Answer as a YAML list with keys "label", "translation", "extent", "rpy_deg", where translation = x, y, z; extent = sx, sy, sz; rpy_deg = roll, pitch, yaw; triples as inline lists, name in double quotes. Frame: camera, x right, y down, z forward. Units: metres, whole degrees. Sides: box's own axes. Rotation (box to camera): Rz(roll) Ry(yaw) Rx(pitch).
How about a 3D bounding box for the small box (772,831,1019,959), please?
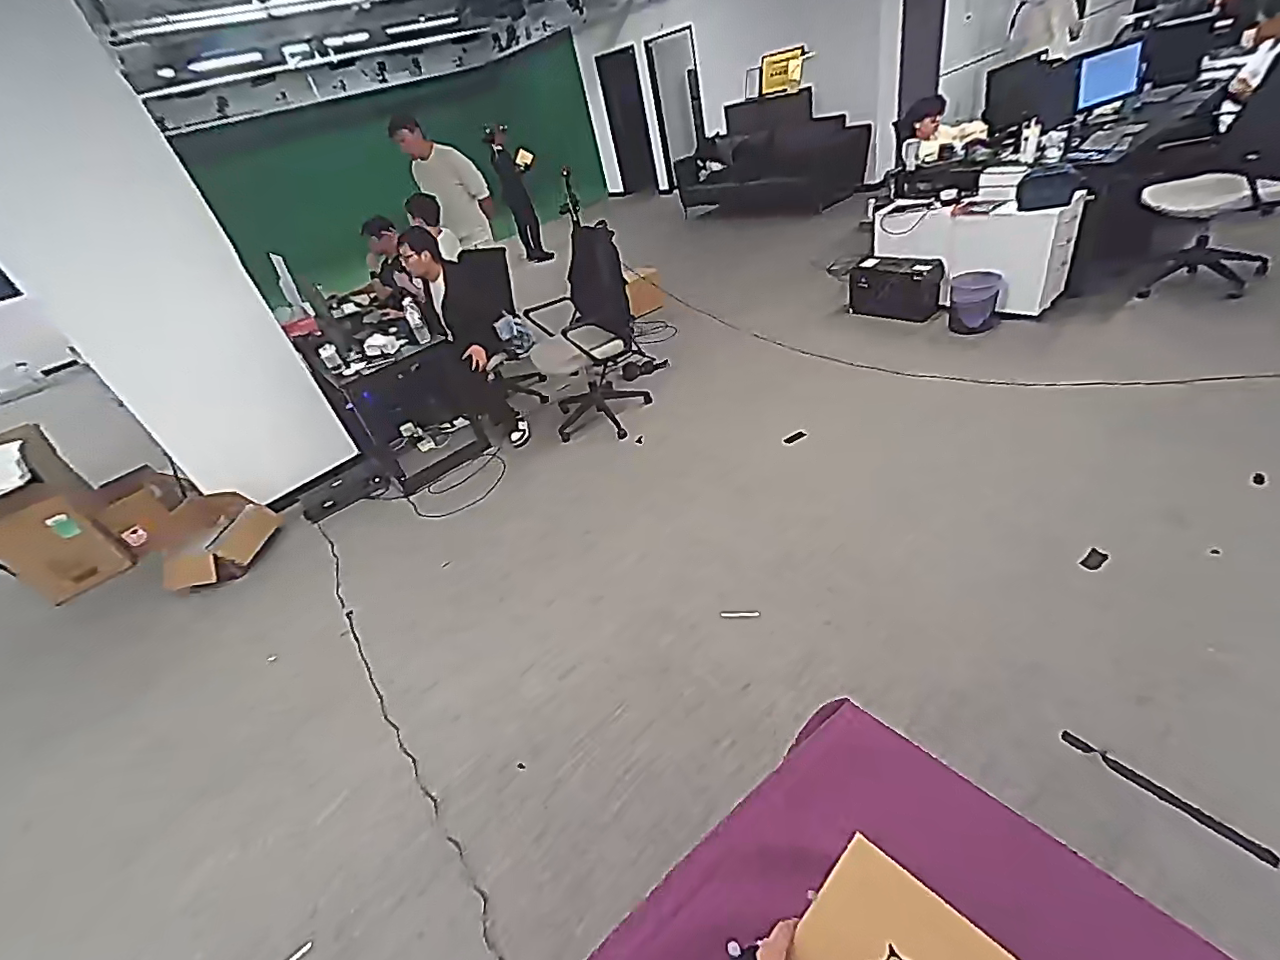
- label: "small box"
  translation: [0.257, 0.527, 0.563]
  extent: [0.179, 0.176, 0.168]
  rpy_deg: [-36, 40, -26]
